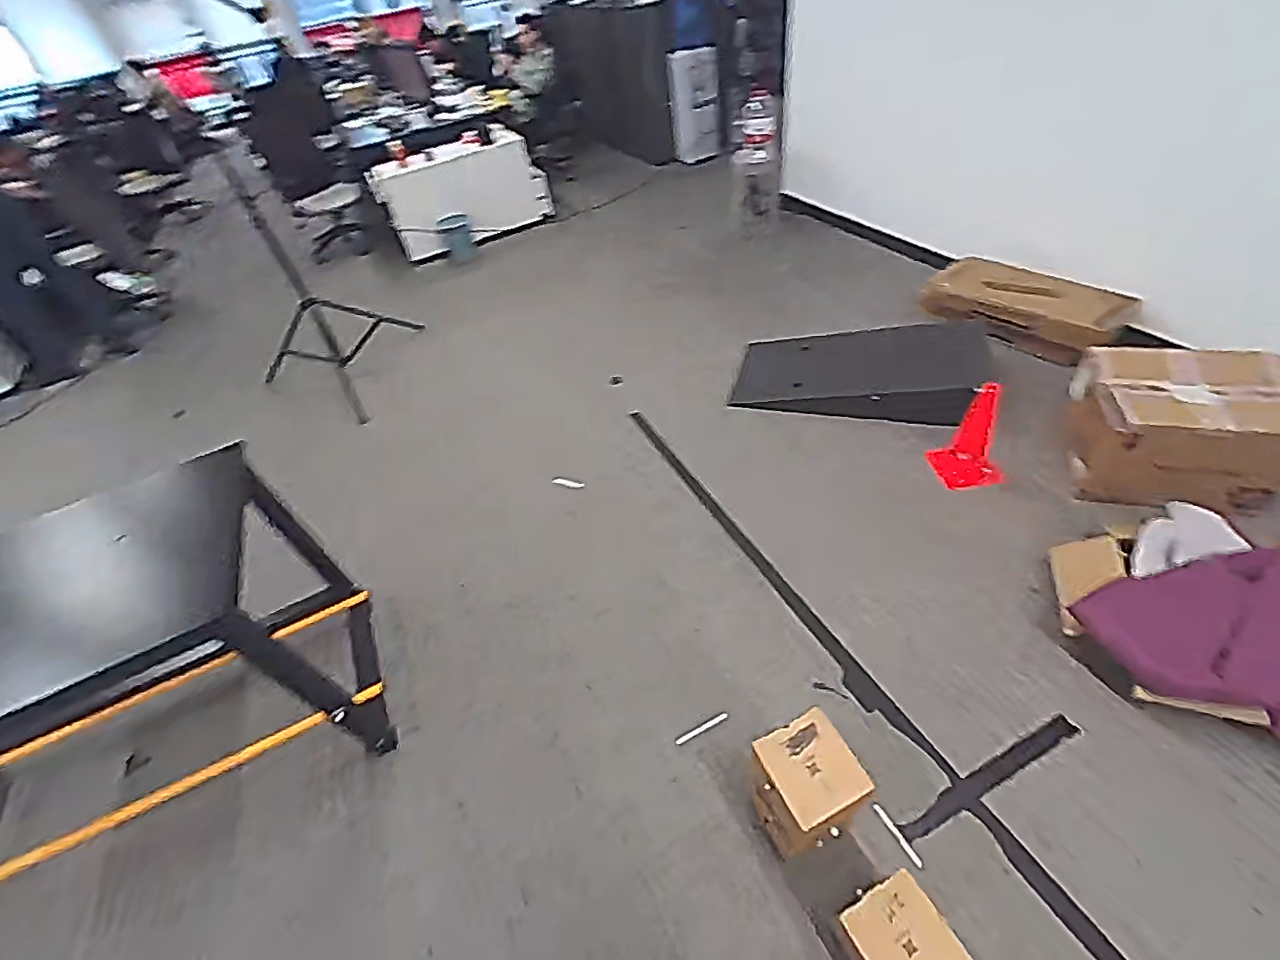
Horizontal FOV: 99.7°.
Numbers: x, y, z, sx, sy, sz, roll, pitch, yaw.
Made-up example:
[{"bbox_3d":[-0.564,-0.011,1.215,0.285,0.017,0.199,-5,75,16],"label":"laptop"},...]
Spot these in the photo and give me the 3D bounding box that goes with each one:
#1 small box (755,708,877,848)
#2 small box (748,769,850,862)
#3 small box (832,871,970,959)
[{"bbox_3d":[0.346,0.610,1.105,0.168,0.176,0.179,-23,46,-11],"label":"small box"},{"bbox_3d":[0.363,0.726,1.222,0.179,0.176,0.168,-23,46,-11],"label":"small box"},{"bbox_3d":[0.494,0.895,1.031,0.168,0.176,0.179,-25,47,-13],"label":"small box"}]
